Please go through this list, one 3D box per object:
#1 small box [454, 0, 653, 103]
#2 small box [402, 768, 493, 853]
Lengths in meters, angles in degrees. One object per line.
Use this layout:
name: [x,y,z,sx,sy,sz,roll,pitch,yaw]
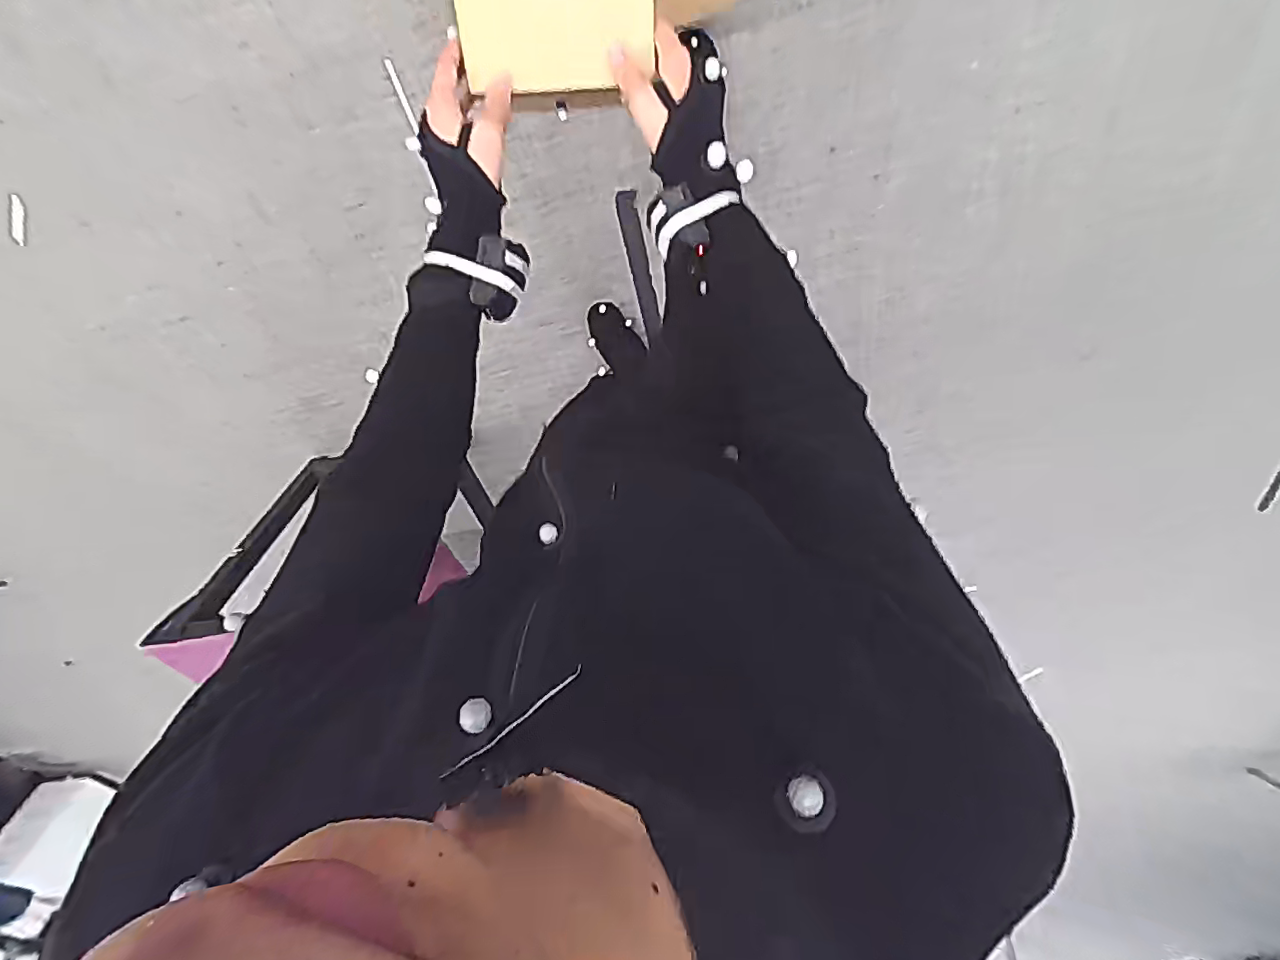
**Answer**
small box: [-0.078,-0.461,0.497,0.168,0.176,0.179,-5,119,-3]
small box: [-0.565,0.984,1.613,0.179,0.176,0.168,-14,128,13]
